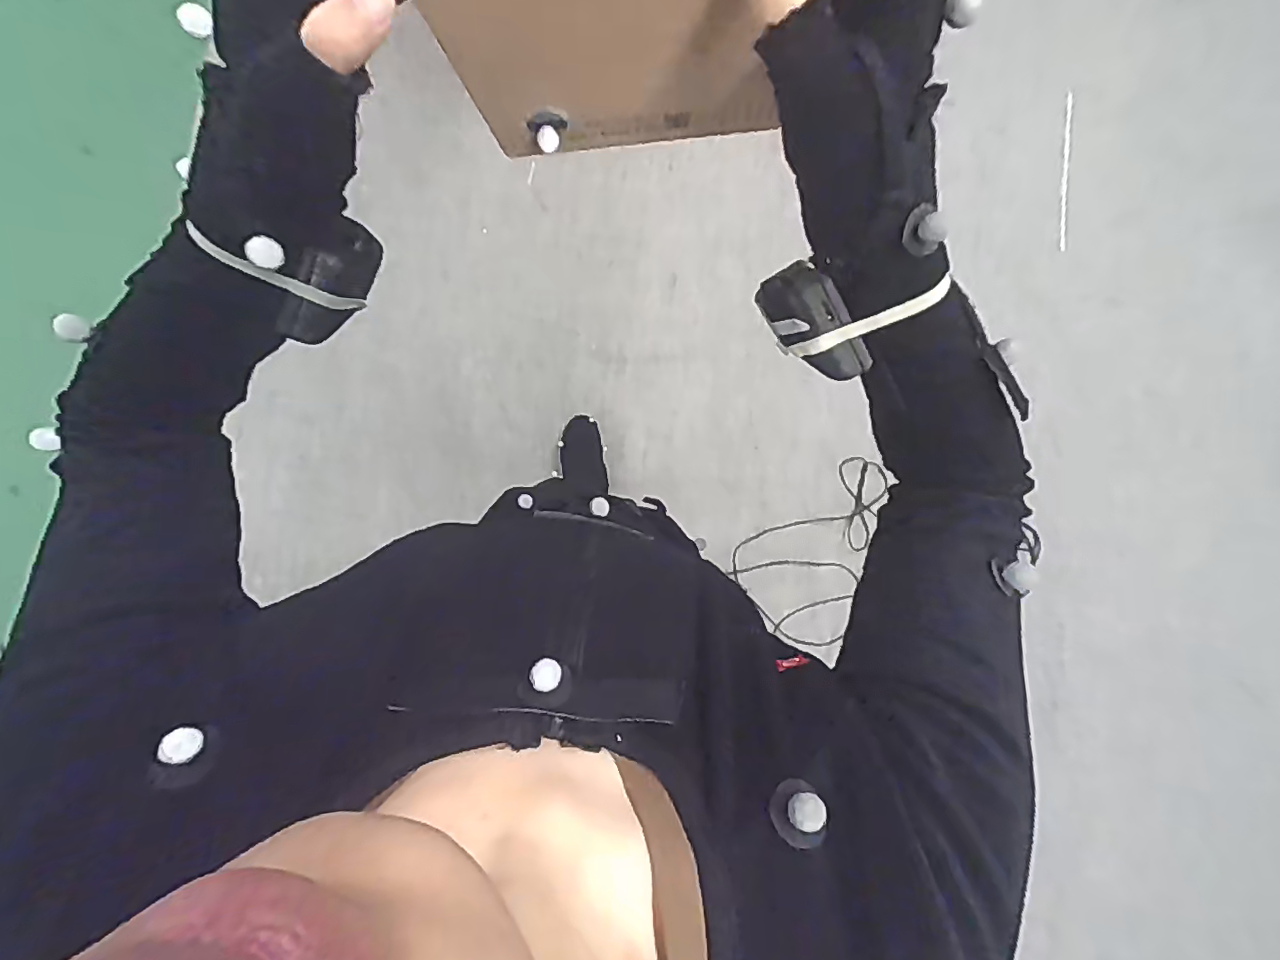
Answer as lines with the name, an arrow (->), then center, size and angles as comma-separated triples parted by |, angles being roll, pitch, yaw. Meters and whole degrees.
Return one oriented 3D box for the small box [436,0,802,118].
small box -> -0.011, -0.289, 0.232 | 0.168, 0.176, 0.179 | -3, 91, 4
